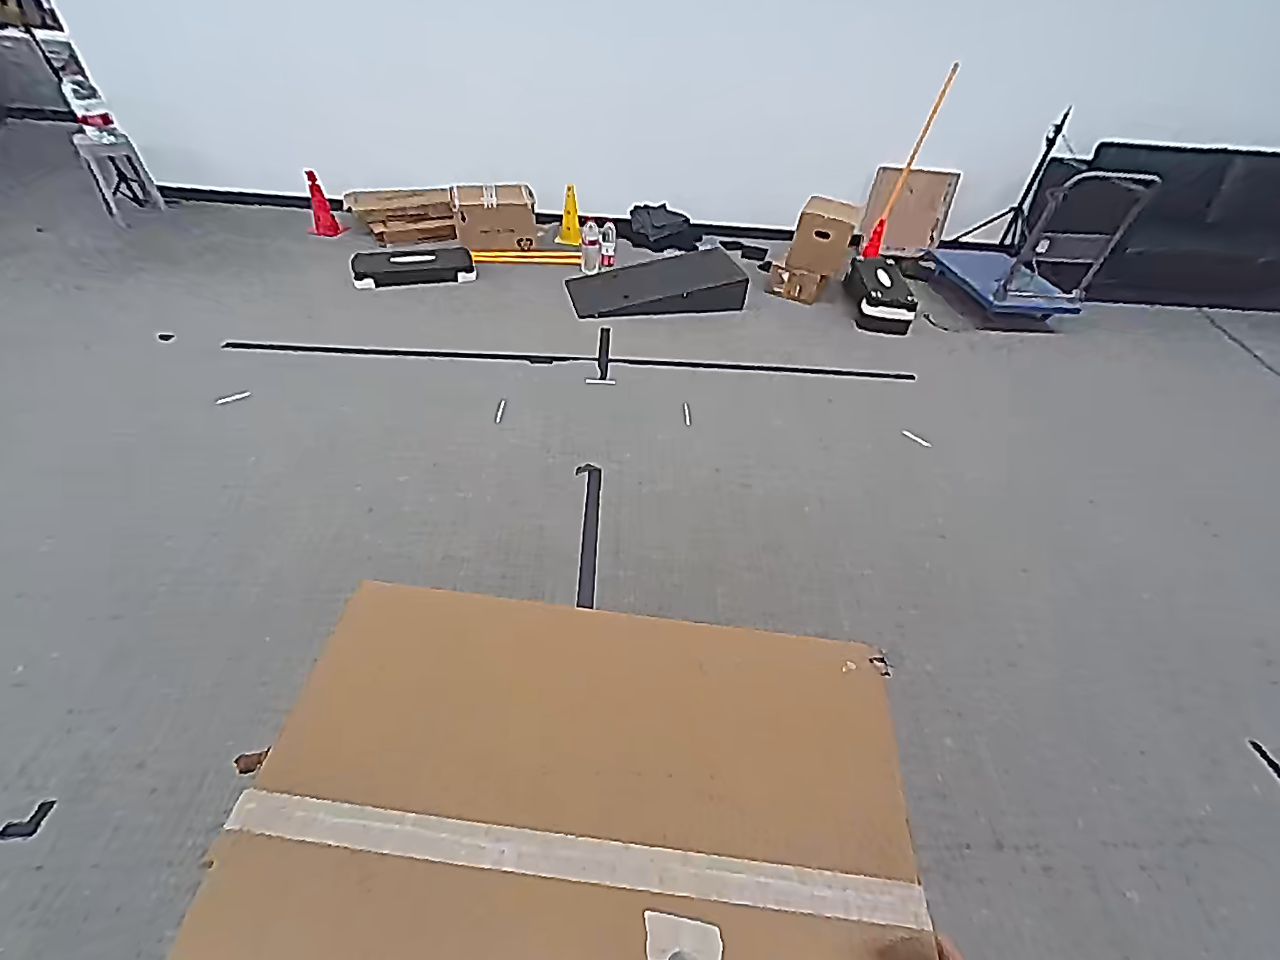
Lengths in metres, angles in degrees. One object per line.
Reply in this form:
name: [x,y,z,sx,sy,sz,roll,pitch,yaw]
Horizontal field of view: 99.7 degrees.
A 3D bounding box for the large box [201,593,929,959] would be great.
large box: [-0.039,0.322,0.441,0.408,0.320,0.320,7,51,2]
